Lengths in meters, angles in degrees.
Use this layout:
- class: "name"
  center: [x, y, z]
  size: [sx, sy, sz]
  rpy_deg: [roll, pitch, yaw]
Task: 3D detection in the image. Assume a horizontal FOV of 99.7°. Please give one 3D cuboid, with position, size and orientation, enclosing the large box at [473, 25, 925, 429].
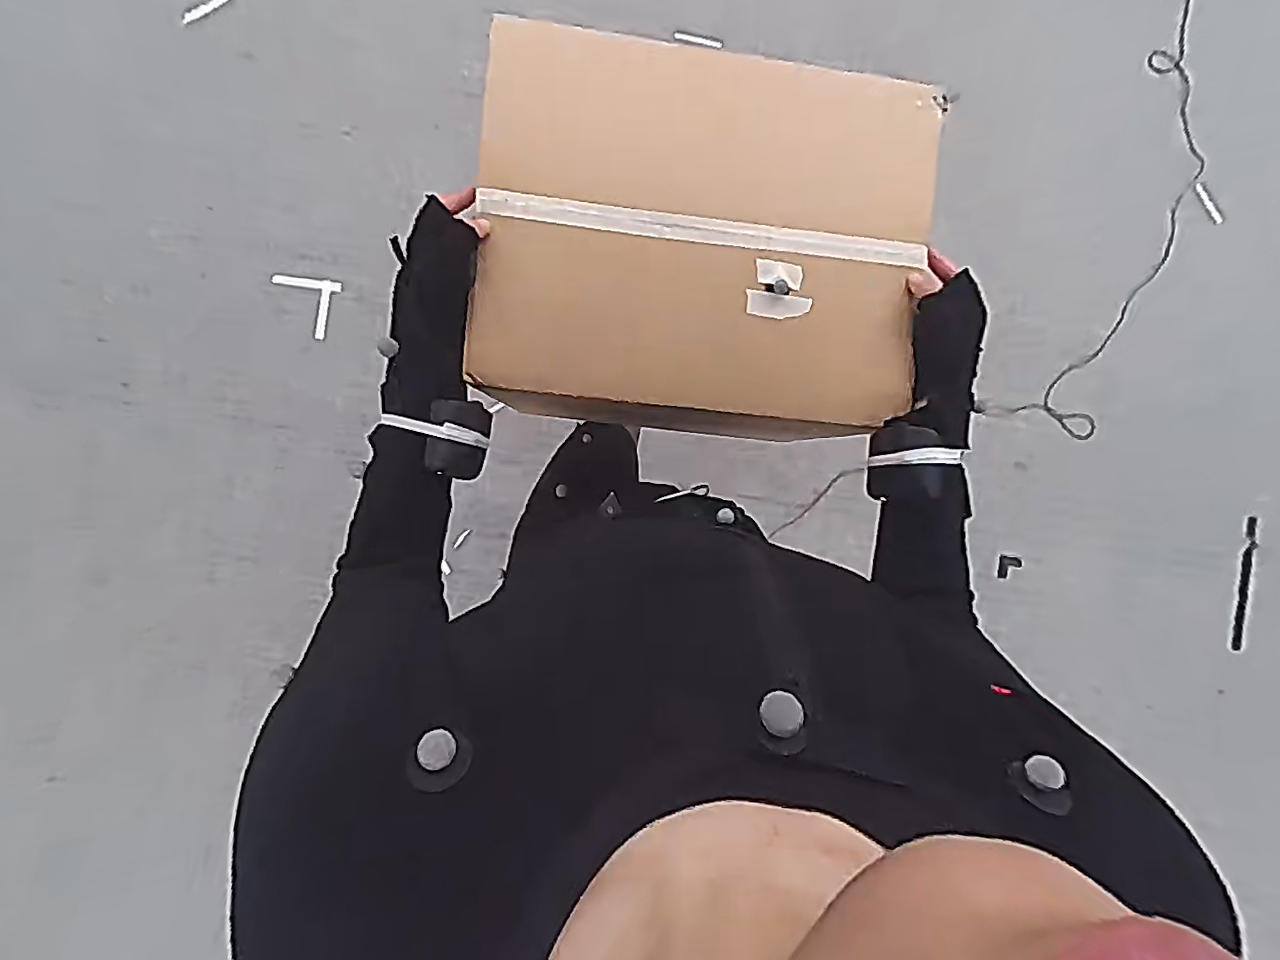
- class: "large box"
  center: [0.044, -0.236, 0.640]
  size: [0.408, 0.320, 0.320]
  rpy_deg: [5, 93, -5]
